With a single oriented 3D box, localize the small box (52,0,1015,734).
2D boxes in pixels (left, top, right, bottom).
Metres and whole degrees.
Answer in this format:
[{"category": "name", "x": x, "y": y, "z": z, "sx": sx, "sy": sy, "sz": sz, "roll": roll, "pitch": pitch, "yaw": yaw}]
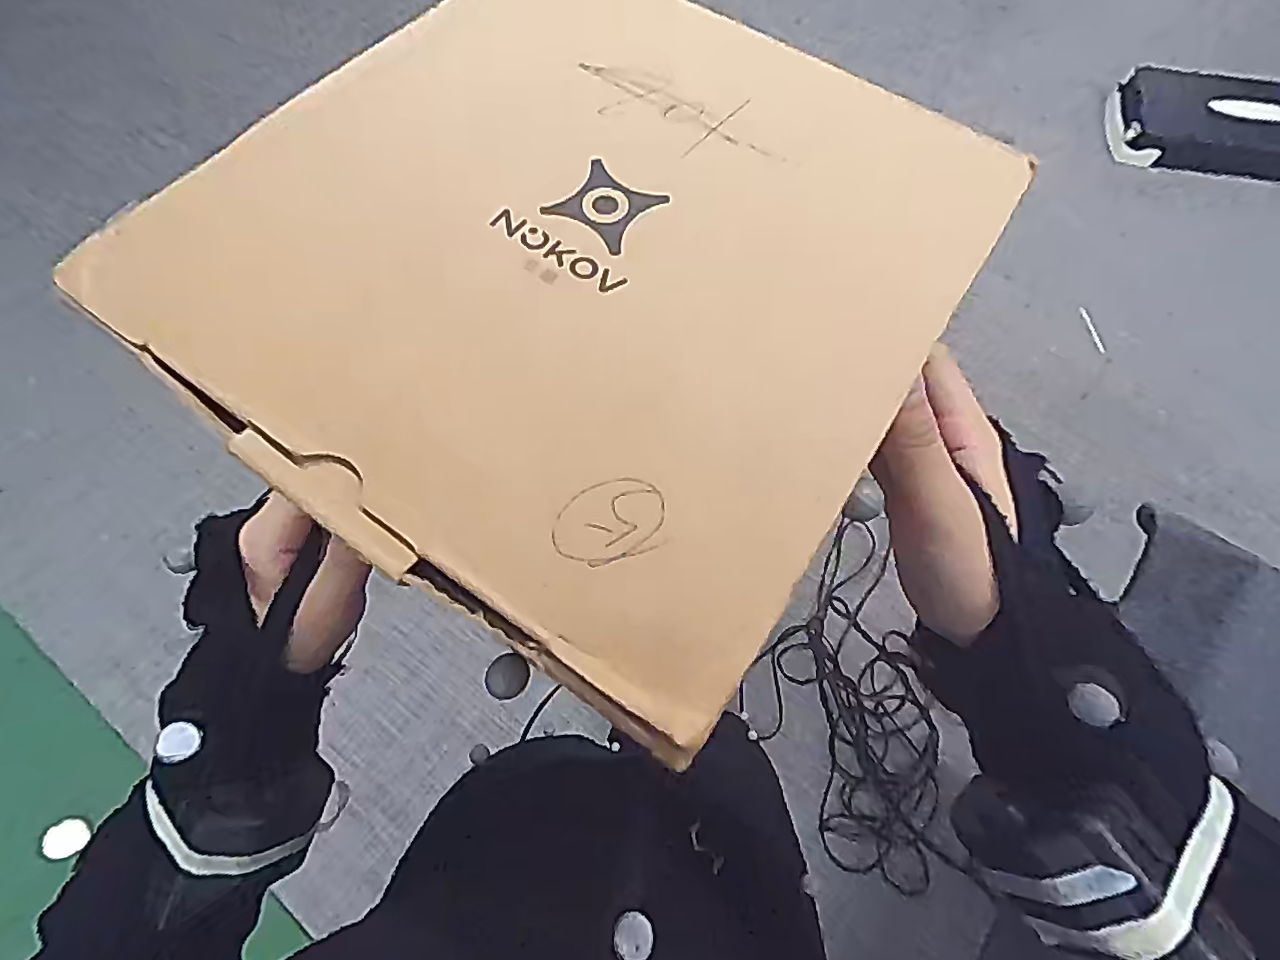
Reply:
[{"category": "small box", "x": -0.017, "y": -0.034, "z": 0.204, "sx": 0.168, "sy": 0.176, "sz": 0.179, "roll": 33, "pitch": 69, "yaw": 9}]
